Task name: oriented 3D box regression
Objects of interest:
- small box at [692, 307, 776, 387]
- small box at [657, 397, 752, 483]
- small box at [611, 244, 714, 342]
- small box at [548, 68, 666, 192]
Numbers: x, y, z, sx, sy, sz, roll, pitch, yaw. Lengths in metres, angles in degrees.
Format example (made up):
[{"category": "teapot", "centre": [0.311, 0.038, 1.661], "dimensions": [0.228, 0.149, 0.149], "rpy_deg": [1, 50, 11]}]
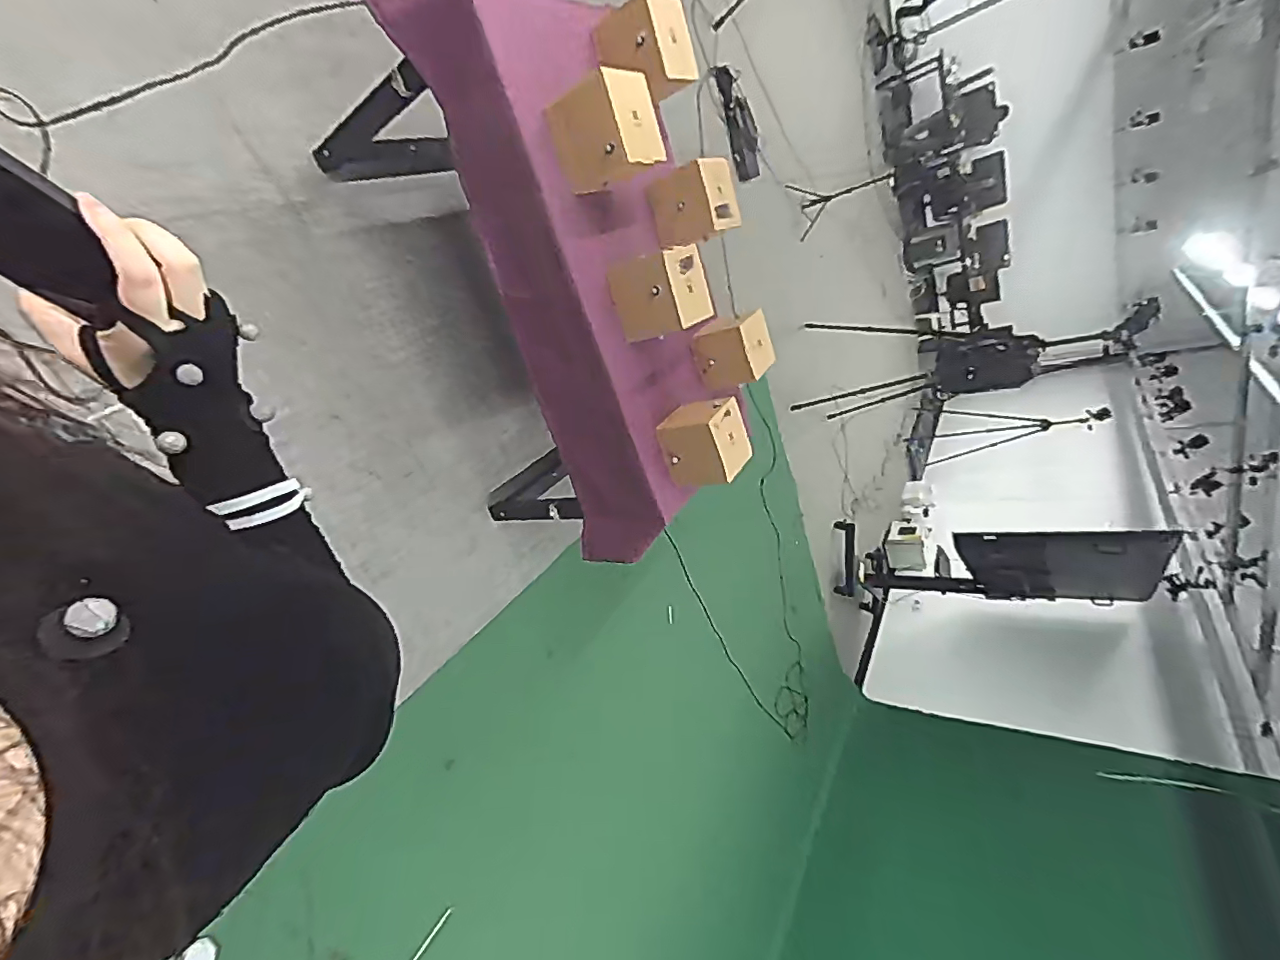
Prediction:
[{"category": "small box", "centre": [0.277, -0.390, 1.598], "dimensions": [0.179, 0.176, 0.168], "rpy_deg": [-46, 121, -43]}, {"category": "small box", "centre": [0.172, -0.103, 1.438], "dimensions": [0.168, 0.176, 0.179], "rpy_deg": [-44, 121, -45]}, {"category": "small box", "centre": [0.053, -0.454, 1.317], "dimensions": [0.168, 0.176, 0.179], "rpy_deg": [-39, 118, -47]}, {"category": "small box", "centre": [-0.072, -0.756, 1.183], "dimensions": [0.168, 0.176, 0.179], "rpy_deg": [-41, 120, -46]}]
